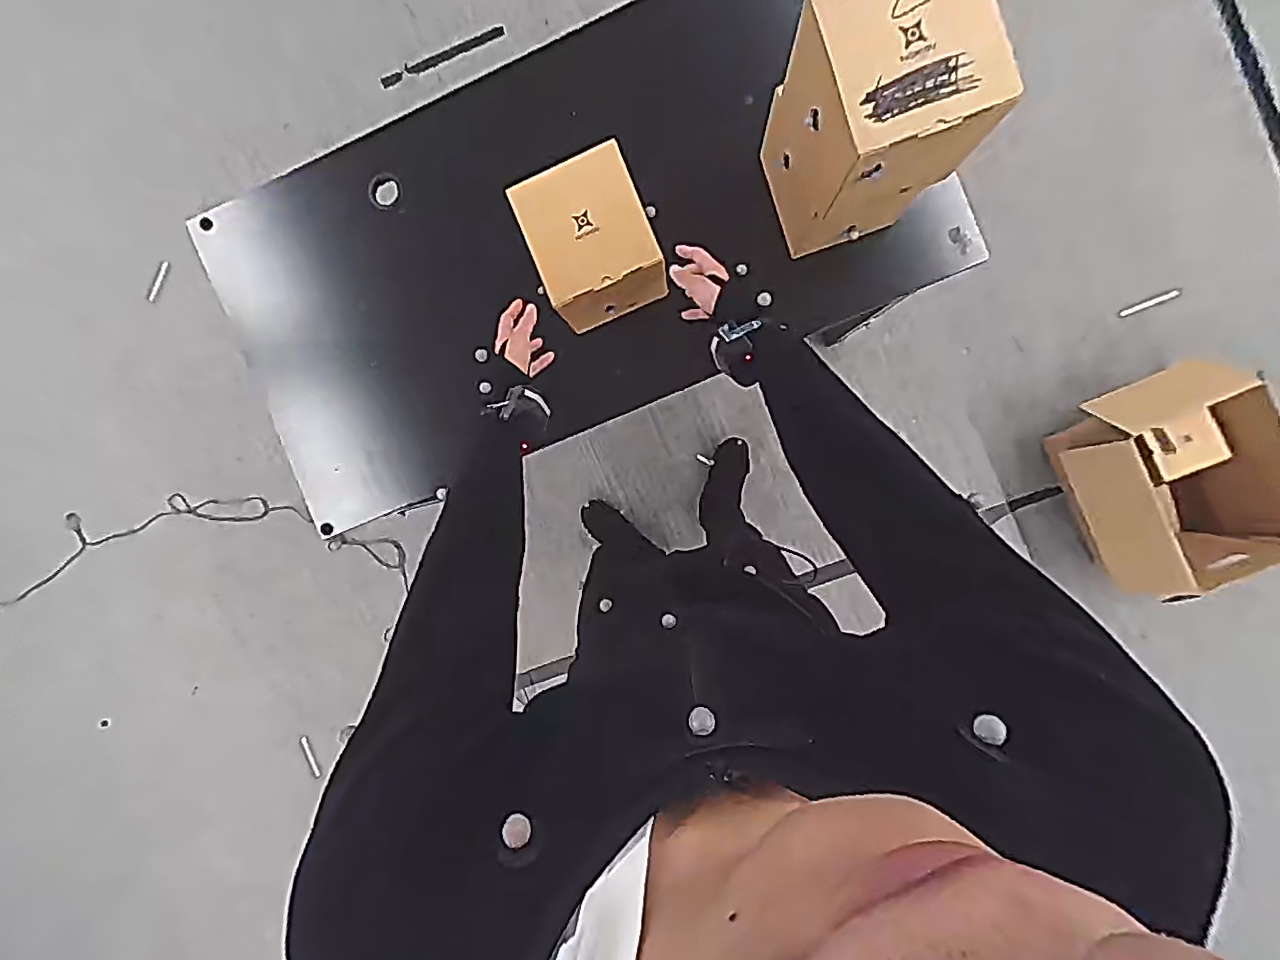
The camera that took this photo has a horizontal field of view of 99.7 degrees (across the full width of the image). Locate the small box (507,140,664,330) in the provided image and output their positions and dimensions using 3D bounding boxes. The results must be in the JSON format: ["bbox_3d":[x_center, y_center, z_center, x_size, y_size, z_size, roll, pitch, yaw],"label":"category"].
[{"bbox_3d":[-0.070,-0.348,0.804,0.168,0.176,0.179,-23,92,5],"label":"small box"}]

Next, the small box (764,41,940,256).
[{"bbox_3d":[0.285,-0.452,0.767,0.168,0.176,0.179,-17,92,6],"label":"small box"}]
